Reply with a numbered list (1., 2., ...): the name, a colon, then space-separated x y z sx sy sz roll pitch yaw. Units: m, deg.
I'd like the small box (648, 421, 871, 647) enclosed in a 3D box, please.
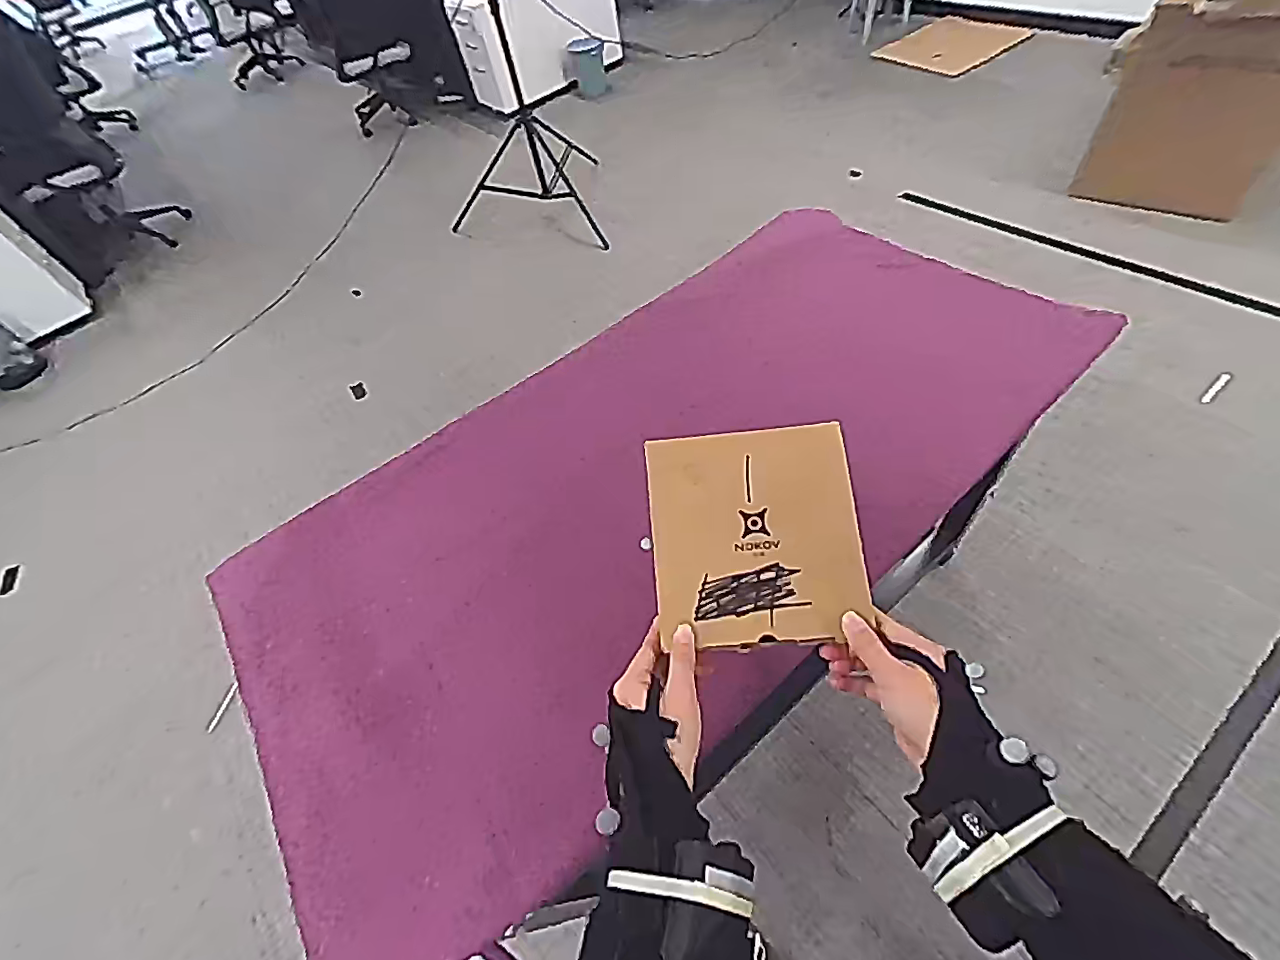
1. small box: 0.100 0.059 0.515 0.168 0.176 0.179 -5 75 4
